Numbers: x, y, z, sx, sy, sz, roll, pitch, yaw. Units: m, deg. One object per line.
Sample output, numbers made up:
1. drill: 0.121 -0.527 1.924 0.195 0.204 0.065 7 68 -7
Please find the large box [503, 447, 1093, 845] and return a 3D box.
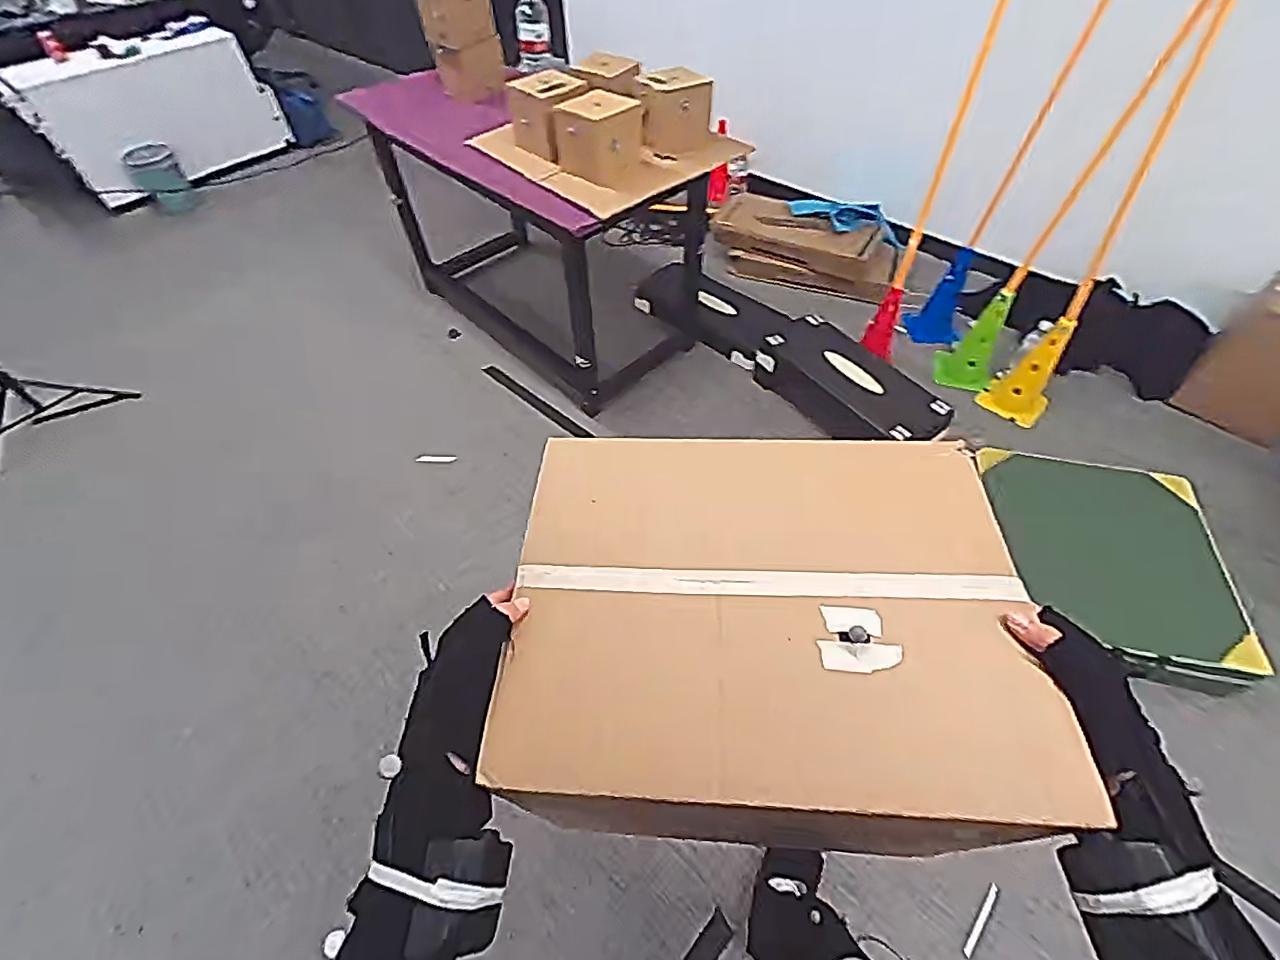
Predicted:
1. large box: 0.114 0.180 0.571 0.408 0.320 0.320 2 54 5
